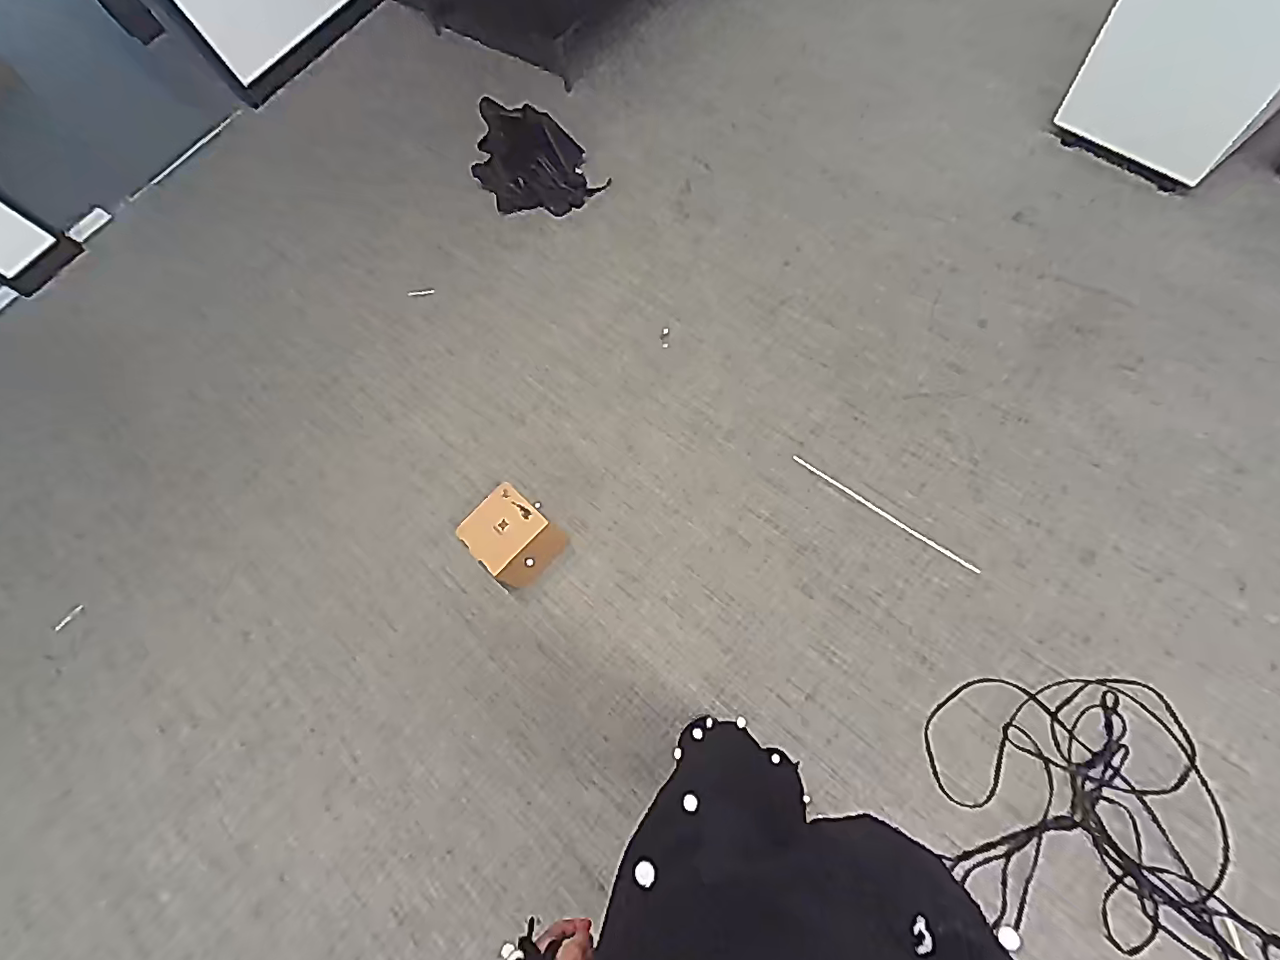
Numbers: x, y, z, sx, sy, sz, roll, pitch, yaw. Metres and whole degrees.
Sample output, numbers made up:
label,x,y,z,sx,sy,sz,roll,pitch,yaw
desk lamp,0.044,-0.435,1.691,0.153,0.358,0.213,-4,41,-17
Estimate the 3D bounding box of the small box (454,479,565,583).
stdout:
label,x,y,z,sx,sy,sz,roll,pitch,yaw
small box,-0.314,0.133,1.336,0.168,0.176,0.179,41,82,21
